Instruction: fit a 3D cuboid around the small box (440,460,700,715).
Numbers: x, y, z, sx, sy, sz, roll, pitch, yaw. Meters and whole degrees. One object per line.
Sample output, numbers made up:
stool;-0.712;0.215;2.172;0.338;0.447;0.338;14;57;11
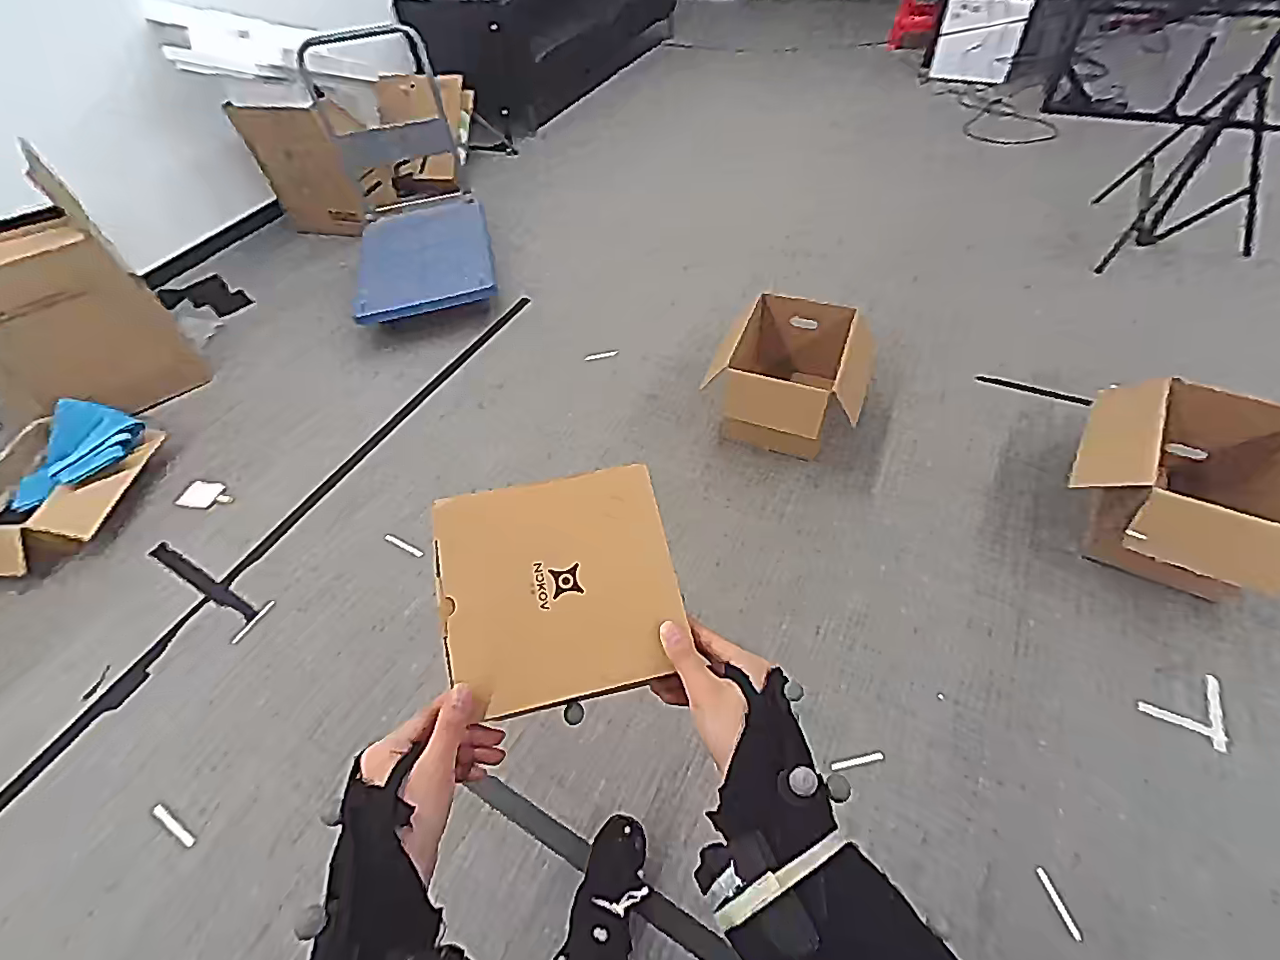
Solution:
small box;-0.062;0.101;0.482;0.179;0.176;0.168;-11;69;-8
